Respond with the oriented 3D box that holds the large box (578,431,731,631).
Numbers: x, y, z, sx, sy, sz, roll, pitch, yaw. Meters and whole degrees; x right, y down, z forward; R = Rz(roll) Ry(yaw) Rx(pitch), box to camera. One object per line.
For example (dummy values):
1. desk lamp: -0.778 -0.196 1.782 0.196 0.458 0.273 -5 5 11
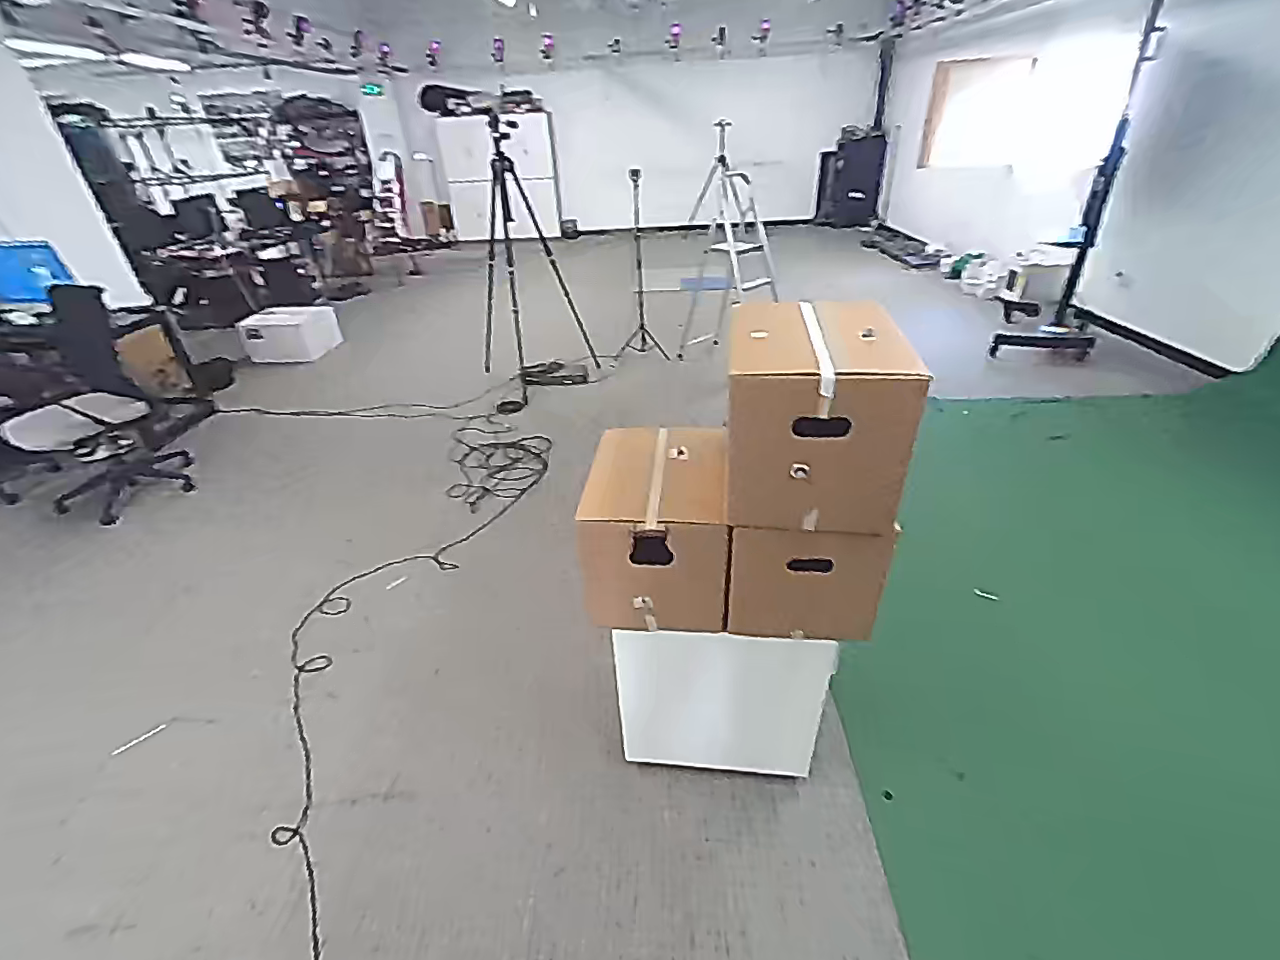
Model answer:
1. large box: 0.052 0.111 1.311 0.320 0.320 0.408 1 32 7
